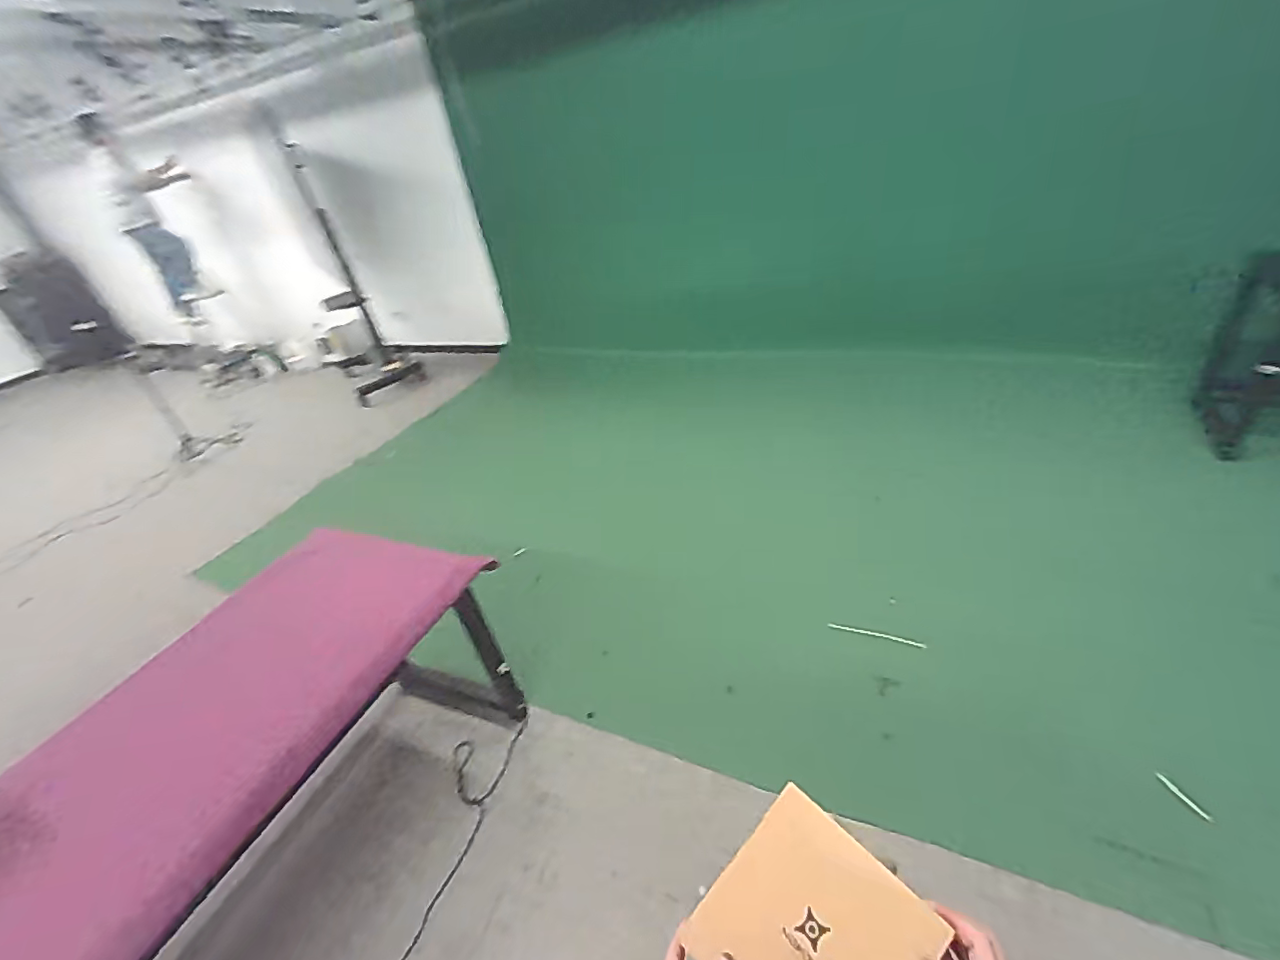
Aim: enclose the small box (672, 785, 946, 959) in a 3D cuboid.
[{"bbox_3d":[0.161,0.441,0.525,0.168,0.176,0.179,31,69,37],"label":"small box"}]
